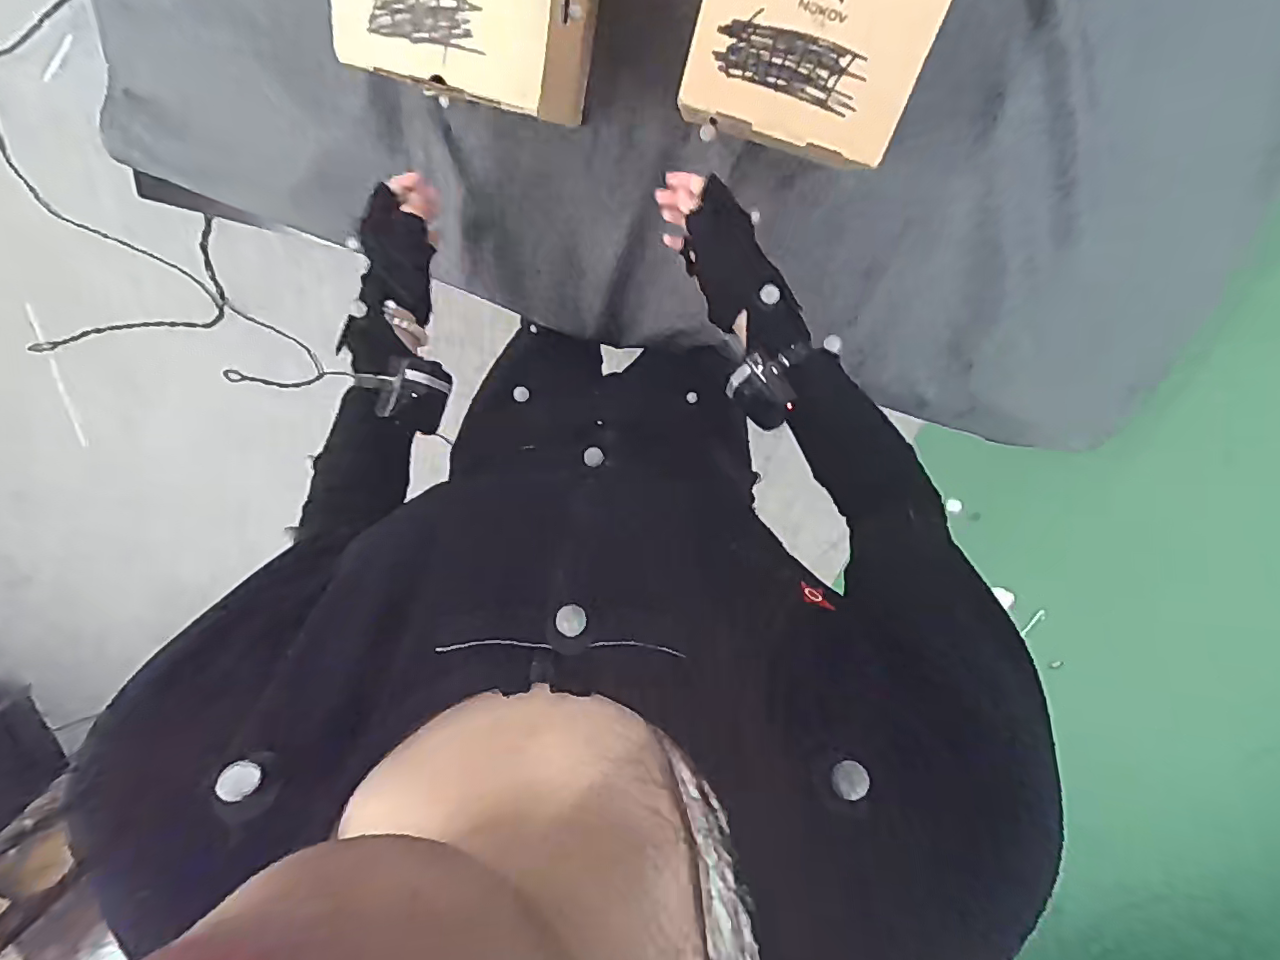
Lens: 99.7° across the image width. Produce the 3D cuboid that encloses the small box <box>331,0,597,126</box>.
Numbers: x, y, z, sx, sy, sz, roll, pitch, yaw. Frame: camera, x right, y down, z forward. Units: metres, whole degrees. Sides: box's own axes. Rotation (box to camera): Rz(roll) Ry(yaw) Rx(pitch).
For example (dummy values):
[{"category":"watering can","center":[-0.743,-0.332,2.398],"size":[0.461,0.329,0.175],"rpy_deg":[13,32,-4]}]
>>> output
[{"category":"small box","center":[-0.131,-0.416,0.450],"size":[0.168,0.176,0.179],"rpy_deg":[14,121,-2]}]
